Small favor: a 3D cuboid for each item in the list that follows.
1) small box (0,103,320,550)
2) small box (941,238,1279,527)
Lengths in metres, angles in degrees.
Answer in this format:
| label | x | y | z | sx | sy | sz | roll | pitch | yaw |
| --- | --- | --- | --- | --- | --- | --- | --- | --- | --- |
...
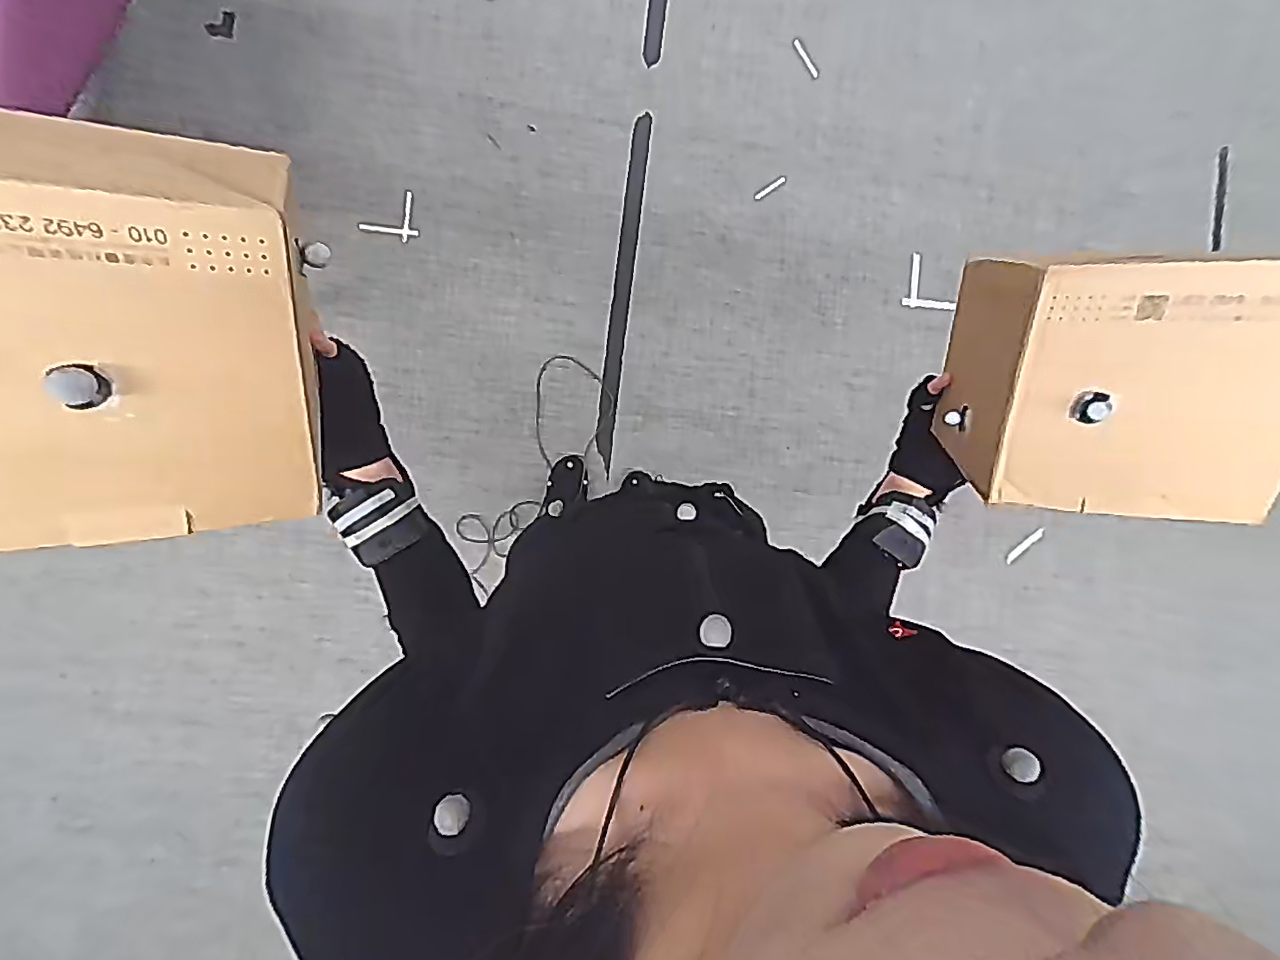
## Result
| label | x | y | z | sx | sy | sz | roll | pitch | yaw |
| --- | --- | --- | --- | --- | --- | --- | --- | --- | --- |
| small box | -0.271 | -0.086 | 0.280 | 0.168 | 0.179 | 0.176 | -5 | 126 | -28 |
| small box | 0.350 | -0.084 | 0.404 | 0.168 | 0.179 | 0.176 | 5 | 115 | 14 |
